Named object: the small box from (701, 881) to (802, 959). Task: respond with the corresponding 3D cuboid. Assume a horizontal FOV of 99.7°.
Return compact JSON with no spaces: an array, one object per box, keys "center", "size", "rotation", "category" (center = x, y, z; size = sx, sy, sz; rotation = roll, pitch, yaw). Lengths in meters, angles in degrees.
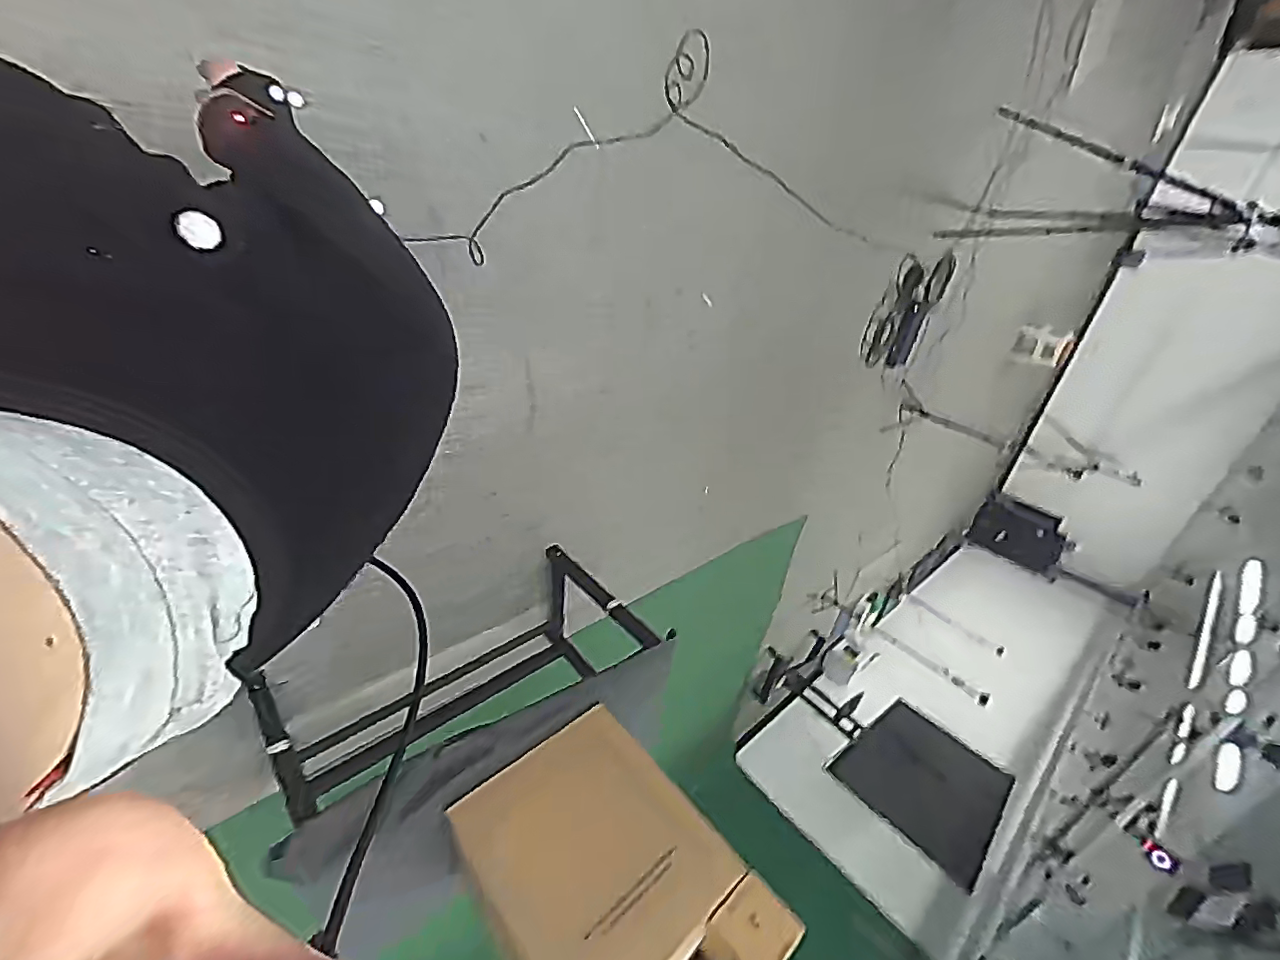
[{"center":[0.270,1.152,1.342],"size":[0.168,0.176,0.179],"rotation":[-22,131,-37],"category":"small box"}]
